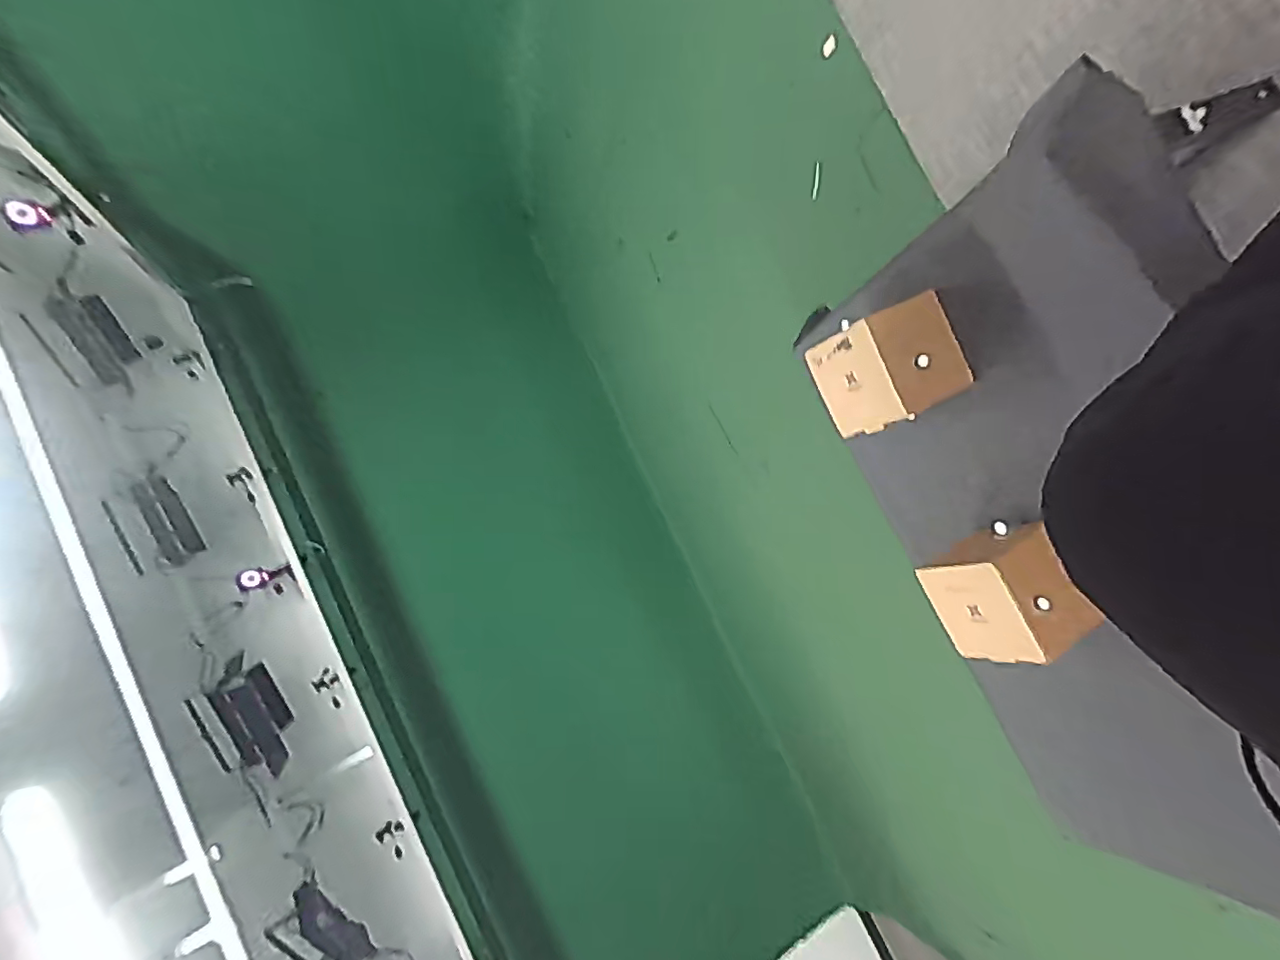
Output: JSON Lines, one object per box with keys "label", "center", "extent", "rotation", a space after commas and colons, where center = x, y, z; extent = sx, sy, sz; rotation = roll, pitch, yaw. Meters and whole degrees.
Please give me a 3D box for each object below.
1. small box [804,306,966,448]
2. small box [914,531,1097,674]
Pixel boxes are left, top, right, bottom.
{"label": "small box", "center": [0.439, -0.181, 0.971], "extent": [0.179, 0.176, 0.168], "rotation": [65, 160, 0]}
{"label": "small box", "center": [0.632, 0.209, 0.939], "extent": [0.179, 0.176, 0.168], "rotation": [65, 159, 7]}
